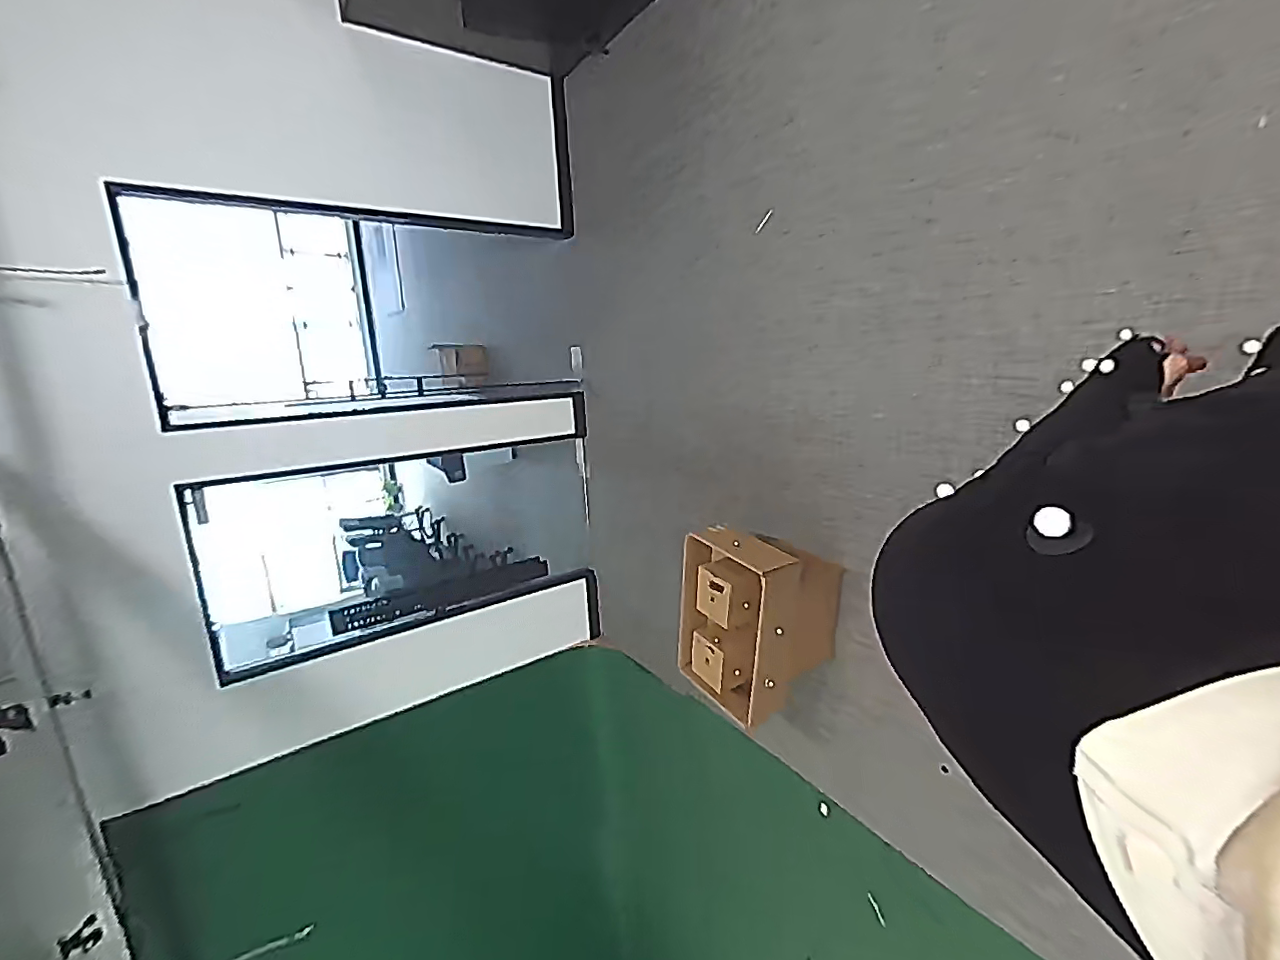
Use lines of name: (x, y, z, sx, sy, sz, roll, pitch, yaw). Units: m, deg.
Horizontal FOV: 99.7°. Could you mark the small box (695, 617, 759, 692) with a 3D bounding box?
small box: (0.321, 0.639, 2.001, 0.168, 0.176, 0.179, 27, 122, 52)
